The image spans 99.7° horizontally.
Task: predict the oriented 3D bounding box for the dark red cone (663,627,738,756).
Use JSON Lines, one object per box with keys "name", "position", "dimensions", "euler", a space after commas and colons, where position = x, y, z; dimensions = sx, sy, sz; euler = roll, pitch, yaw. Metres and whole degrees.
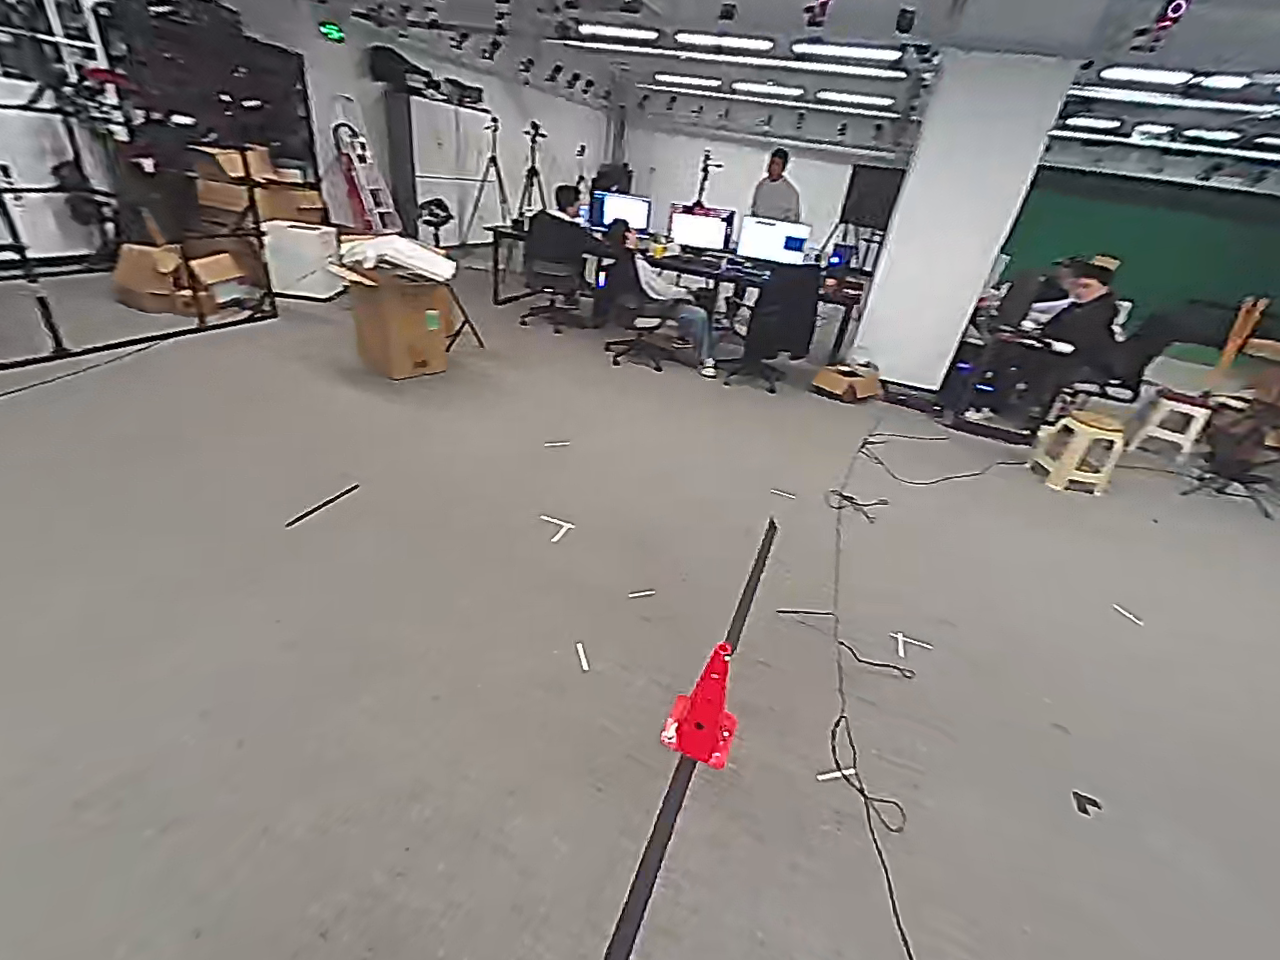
{"name": "dark red cone", "position": [0.211, 0.582, 1.560], "dimensions": [0.201, 0.394, 0.202], "euler": [18, 31, 14]}
